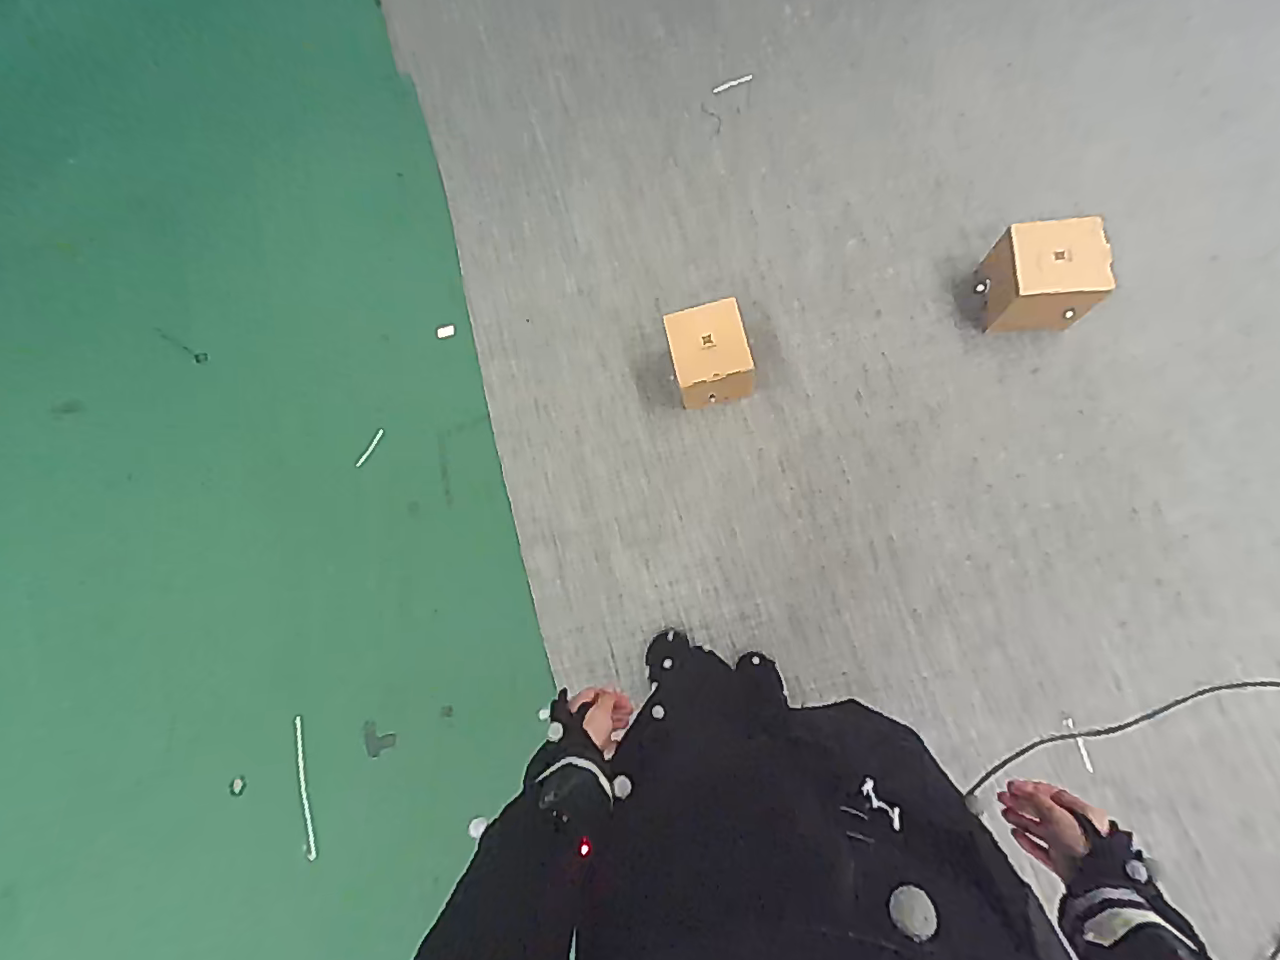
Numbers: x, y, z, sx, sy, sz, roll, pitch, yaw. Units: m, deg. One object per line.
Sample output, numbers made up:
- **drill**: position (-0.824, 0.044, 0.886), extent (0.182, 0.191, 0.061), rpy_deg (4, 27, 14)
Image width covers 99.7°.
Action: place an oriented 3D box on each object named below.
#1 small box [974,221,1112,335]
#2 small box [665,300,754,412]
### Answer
- **small box**: position (0.861, -0.429, 1.172), extent (0.179, 0.176, 0.168), rpy_deg (-2, 77, 10)
- **small box**: position (0.160, -0.280, 1.254), extent (0.168, 0.176, 0.179), rpy_deg (-14, 77, 6)
